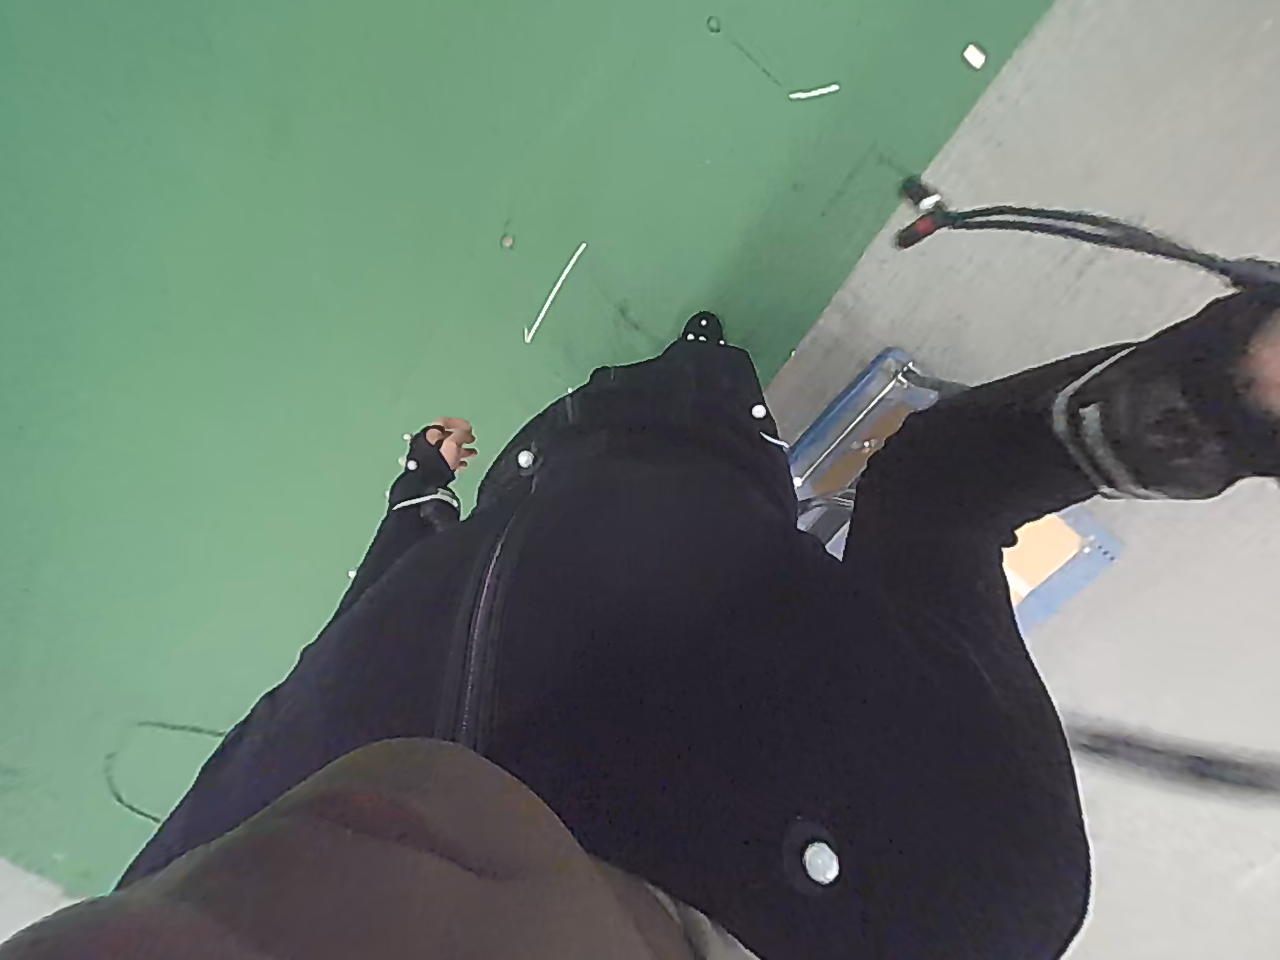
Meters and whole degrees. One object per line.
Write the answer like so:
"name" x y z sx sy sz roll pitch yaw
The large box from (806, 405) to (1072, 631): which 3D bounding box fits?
"large box" 0.685 0.074 1.307 0.408 0.320 0.320 38 106 -9
